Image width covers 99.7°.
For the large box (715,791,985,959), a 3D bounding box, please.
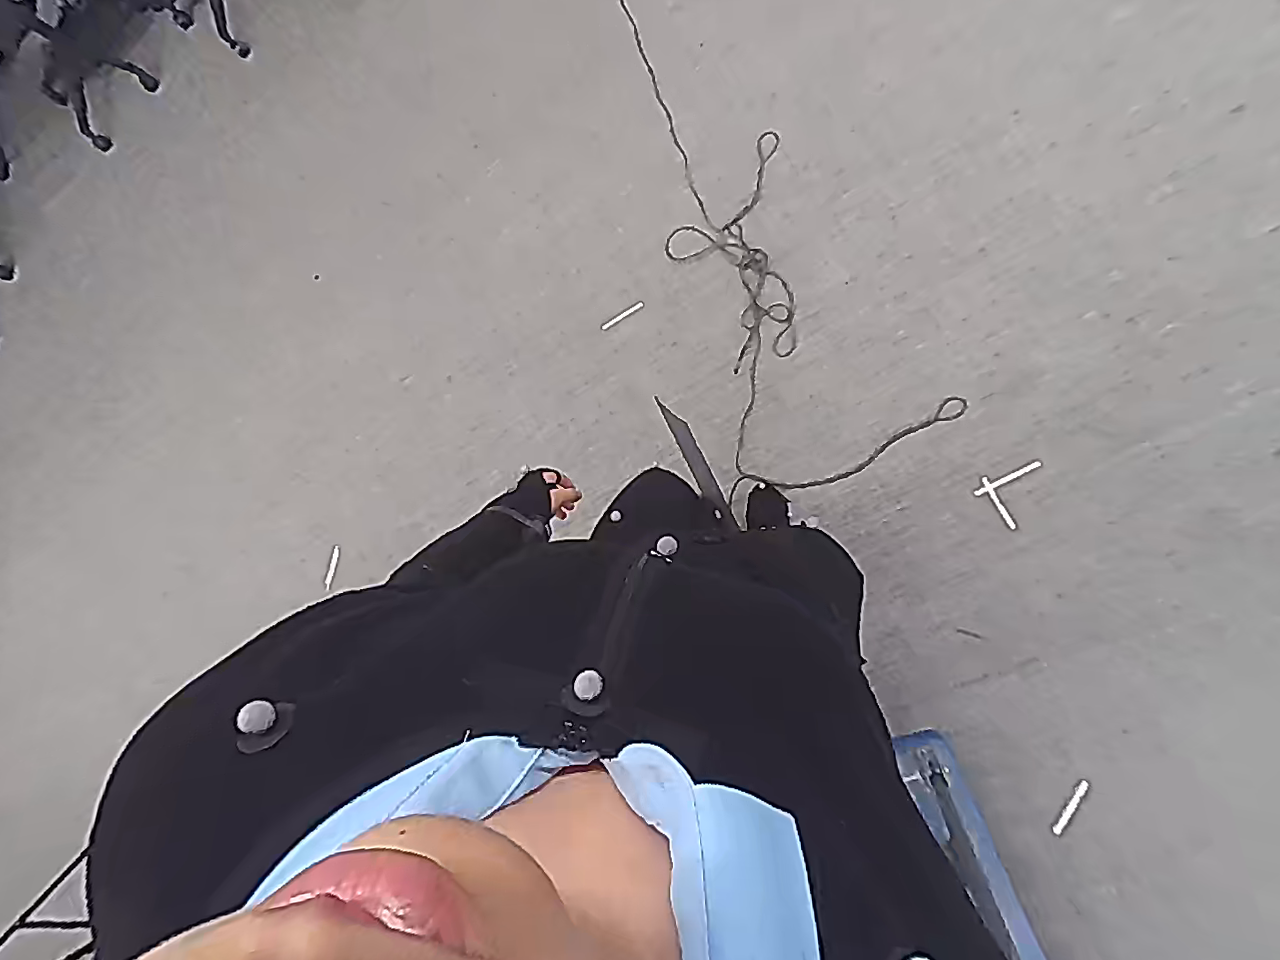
[{"bbox_3d":[0.416,0.892,1.063,0.408,0.320,0.320,-29,79,16],"label":"large box"}]
